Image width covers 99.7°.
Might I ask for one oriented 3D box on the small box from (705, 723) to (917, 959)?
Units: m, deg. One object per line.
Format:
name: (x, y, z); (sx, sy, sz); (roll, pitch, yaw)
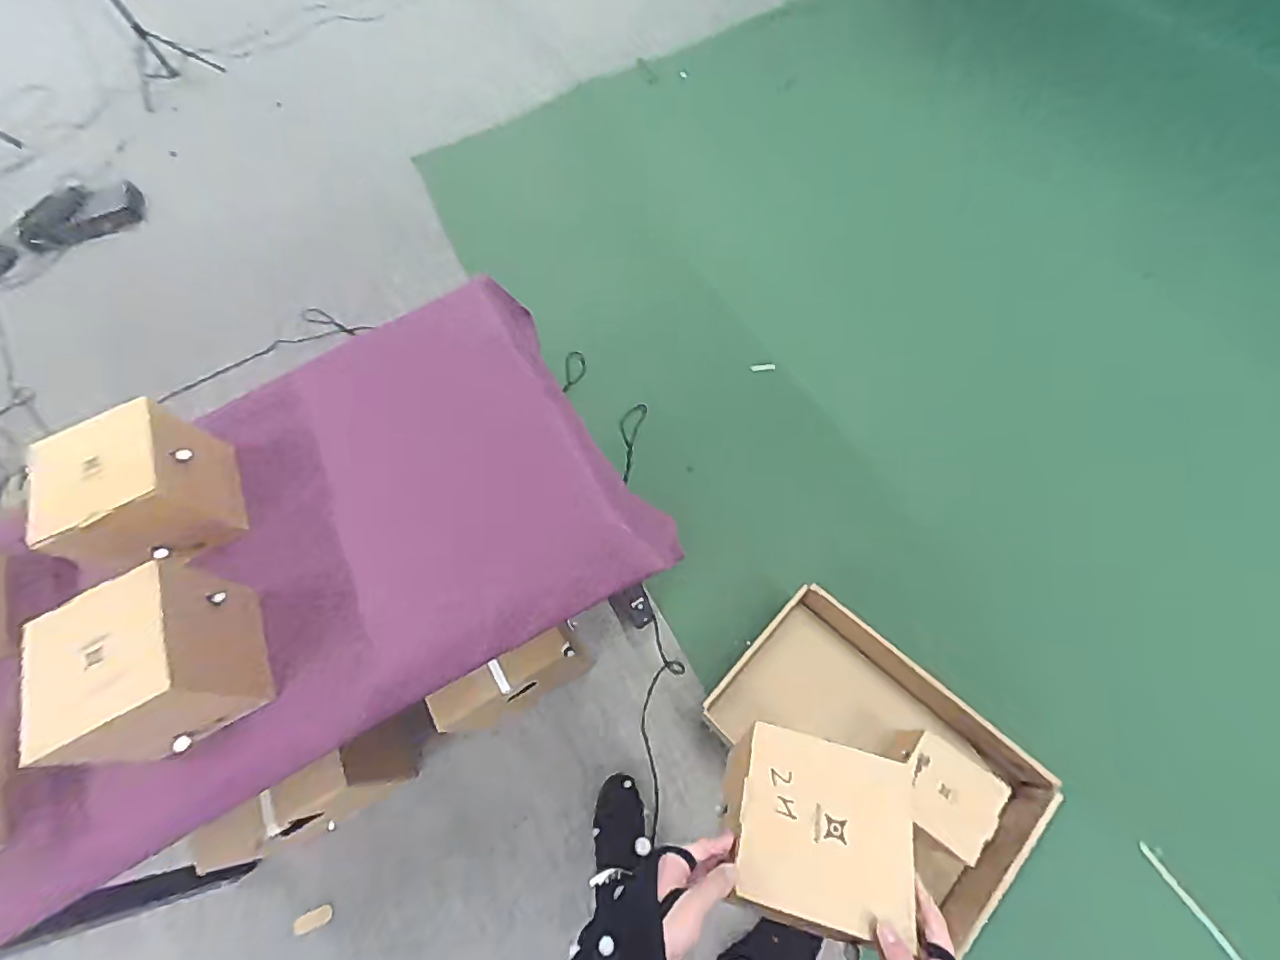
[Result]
small box: (0.181, 0.397, 0.601); (0.179, 0.176, 0.168); (13, 52, 8)

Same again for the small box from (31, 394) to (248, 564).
small box: (-0.733, 0.011, 0.807); (0.168, 0.176, 0.179); (-27, 66, -7)

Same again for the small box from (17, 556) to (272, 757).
small box: (-0.614, 0.229, 0.690); (0.168, 0.176, 0.179); (-28, 64, -6)

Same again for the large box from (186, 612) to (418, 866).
large box: (-0.789, 0.589, 1.275); (0.320, 0.320, 0.408); (-28, 64, -8)
